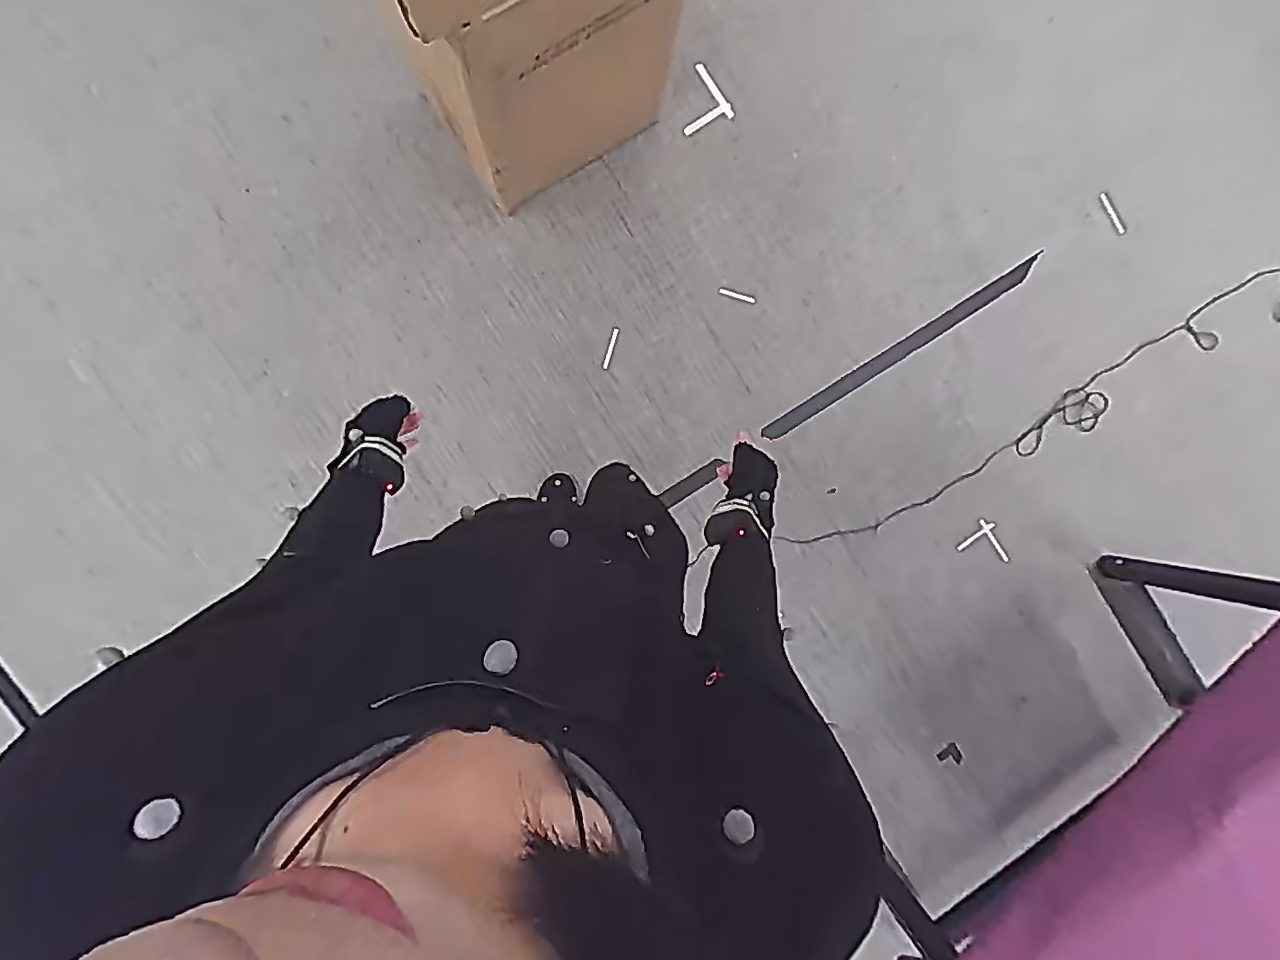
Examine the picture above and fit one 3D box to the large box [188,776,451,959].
[{"bbox_3d":[-0.736,1.041,1.314,0.320,0.320,0.408,-35,93,-5],"label":"large box"}]
